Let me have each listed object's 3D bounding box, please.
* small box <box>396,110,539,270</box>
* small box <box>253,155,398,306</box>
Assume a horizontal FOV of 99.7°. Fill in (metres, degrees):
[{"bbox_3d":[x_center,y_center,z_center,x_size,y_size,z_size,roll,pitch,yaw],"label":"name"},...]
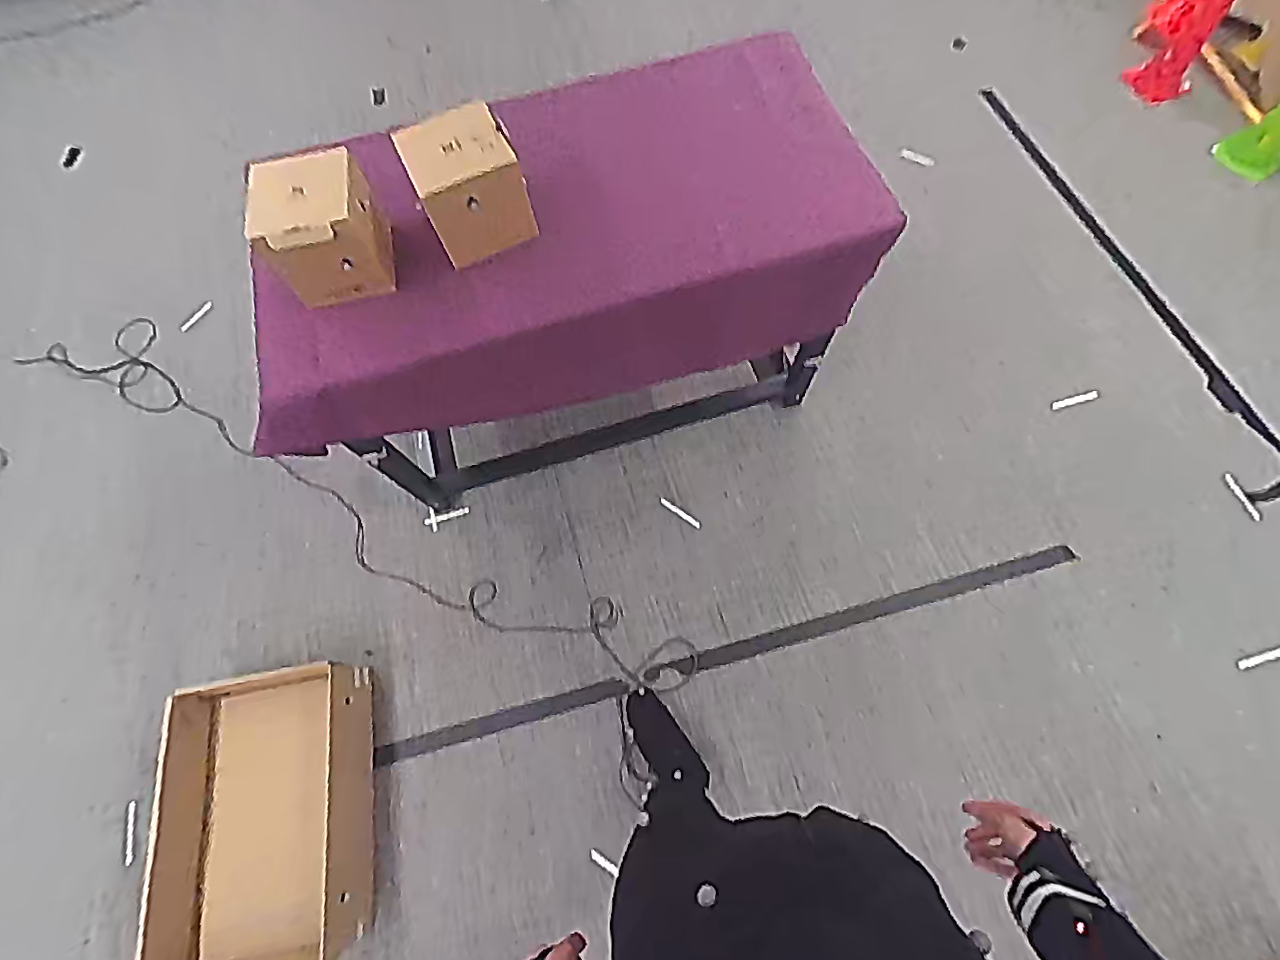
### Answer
[{"bbox_3d":[-0.307,-0.520,0.987,0.179,0.176,0.168,-26,70,-8],"label":"small box"},{"bbox_3d":[-0.551,-0.433,0.968,0.168,0.176,0.179,-12,68,-3],"label":"small box"}]
